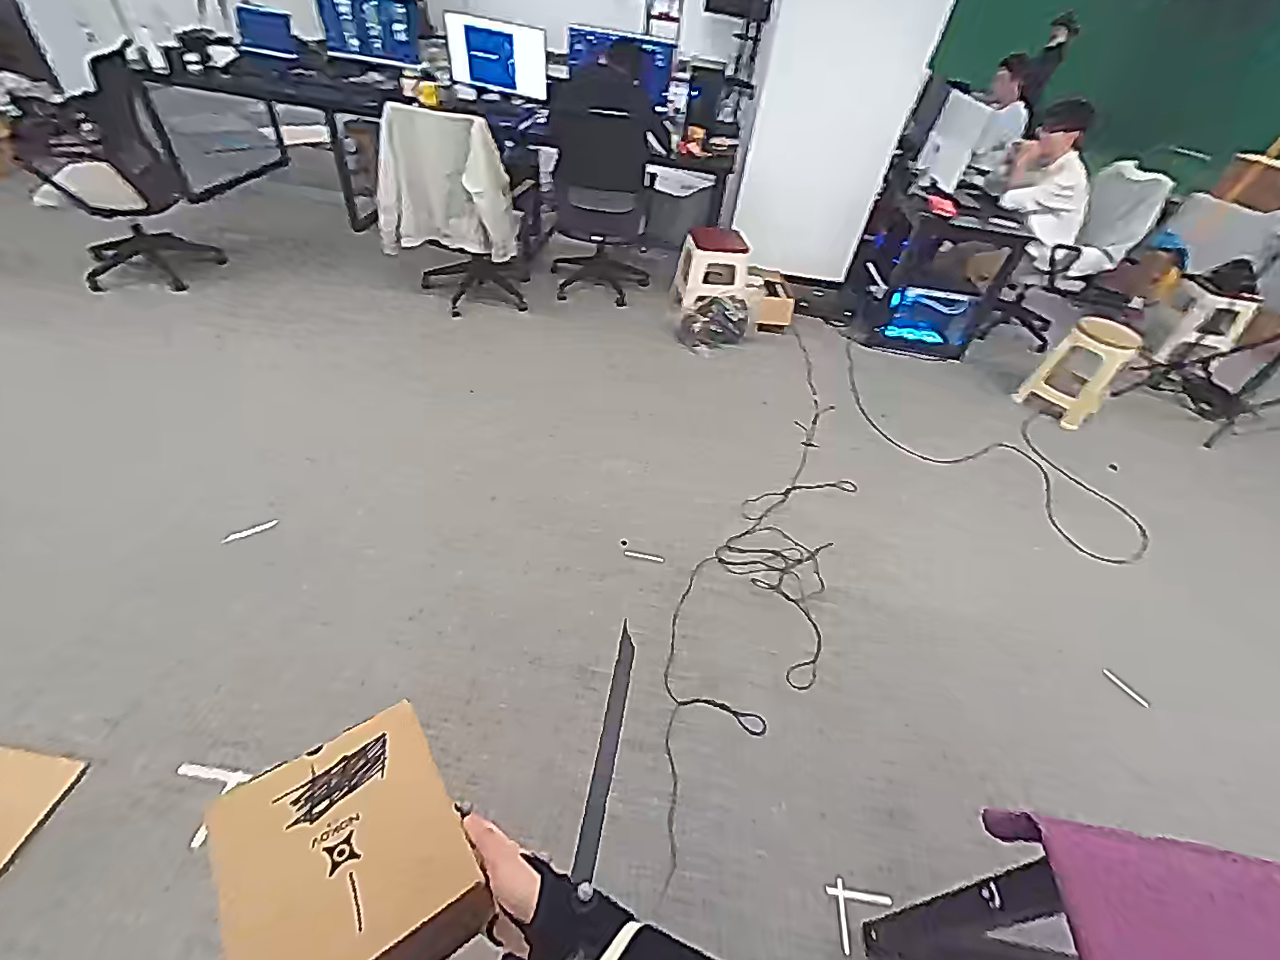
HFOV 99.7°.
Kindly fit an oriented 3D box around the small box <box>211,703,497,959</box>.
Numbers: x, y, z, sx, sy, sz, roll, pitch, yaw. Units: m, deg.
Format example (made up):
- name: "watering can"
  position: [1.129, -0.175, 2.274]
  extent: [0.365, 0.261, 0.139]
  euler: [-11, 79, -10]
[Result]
- name: "small box"
  position: [-0.242, 0.346, 0.482]
  extent: [0.168, 0.176, 0.179]
  euler: [-23, 51, -28]
